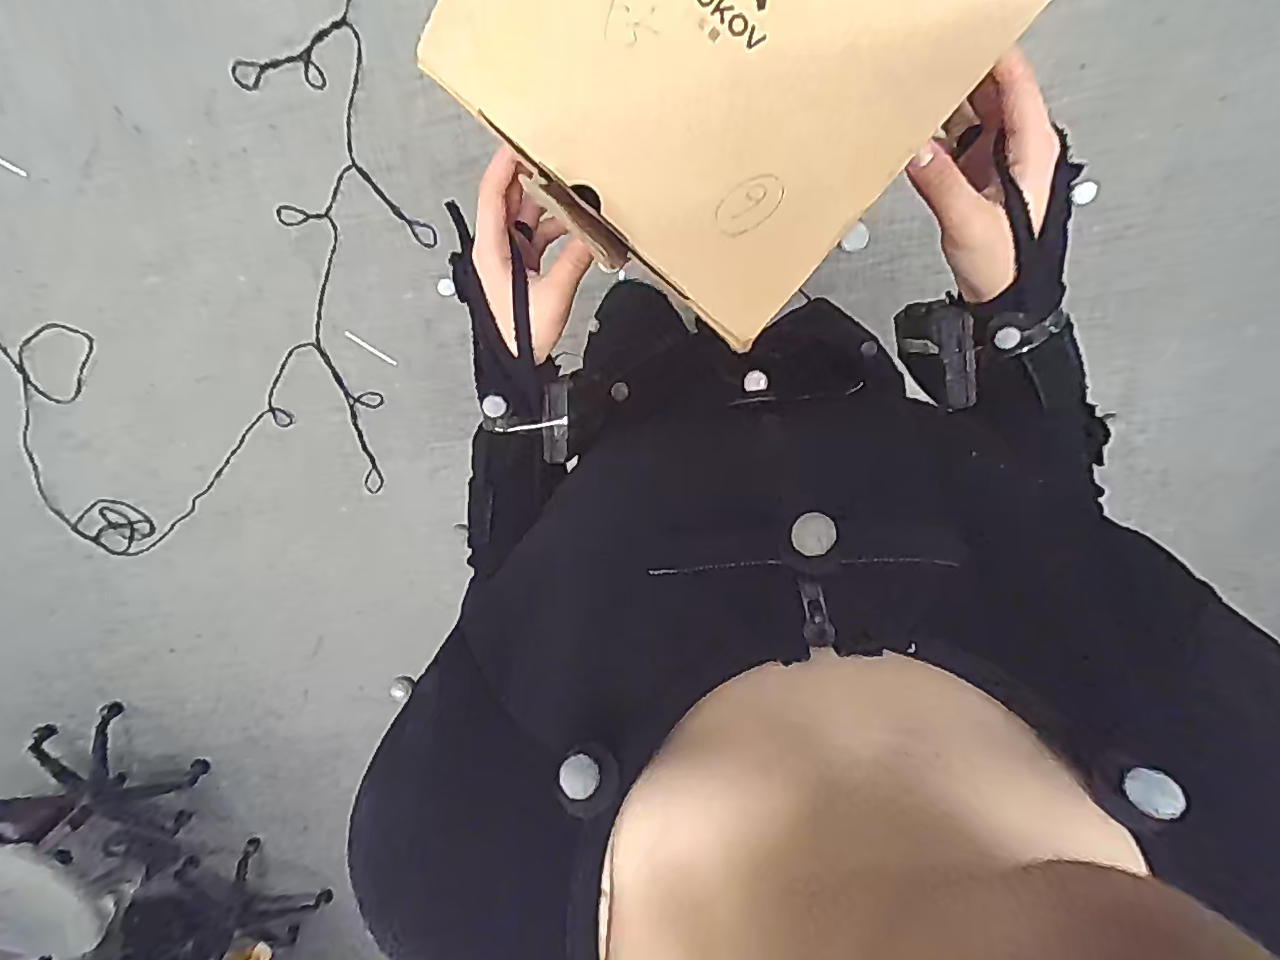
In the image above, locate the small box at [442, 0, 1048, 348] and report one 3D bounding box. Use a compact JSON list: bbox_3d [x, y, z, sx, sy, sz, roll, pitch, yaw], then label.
[{"bbox_3d":[0.046,-0.187,0.270,0.168,0.176,0.179,40,108,-3],"label":"small box"}]
